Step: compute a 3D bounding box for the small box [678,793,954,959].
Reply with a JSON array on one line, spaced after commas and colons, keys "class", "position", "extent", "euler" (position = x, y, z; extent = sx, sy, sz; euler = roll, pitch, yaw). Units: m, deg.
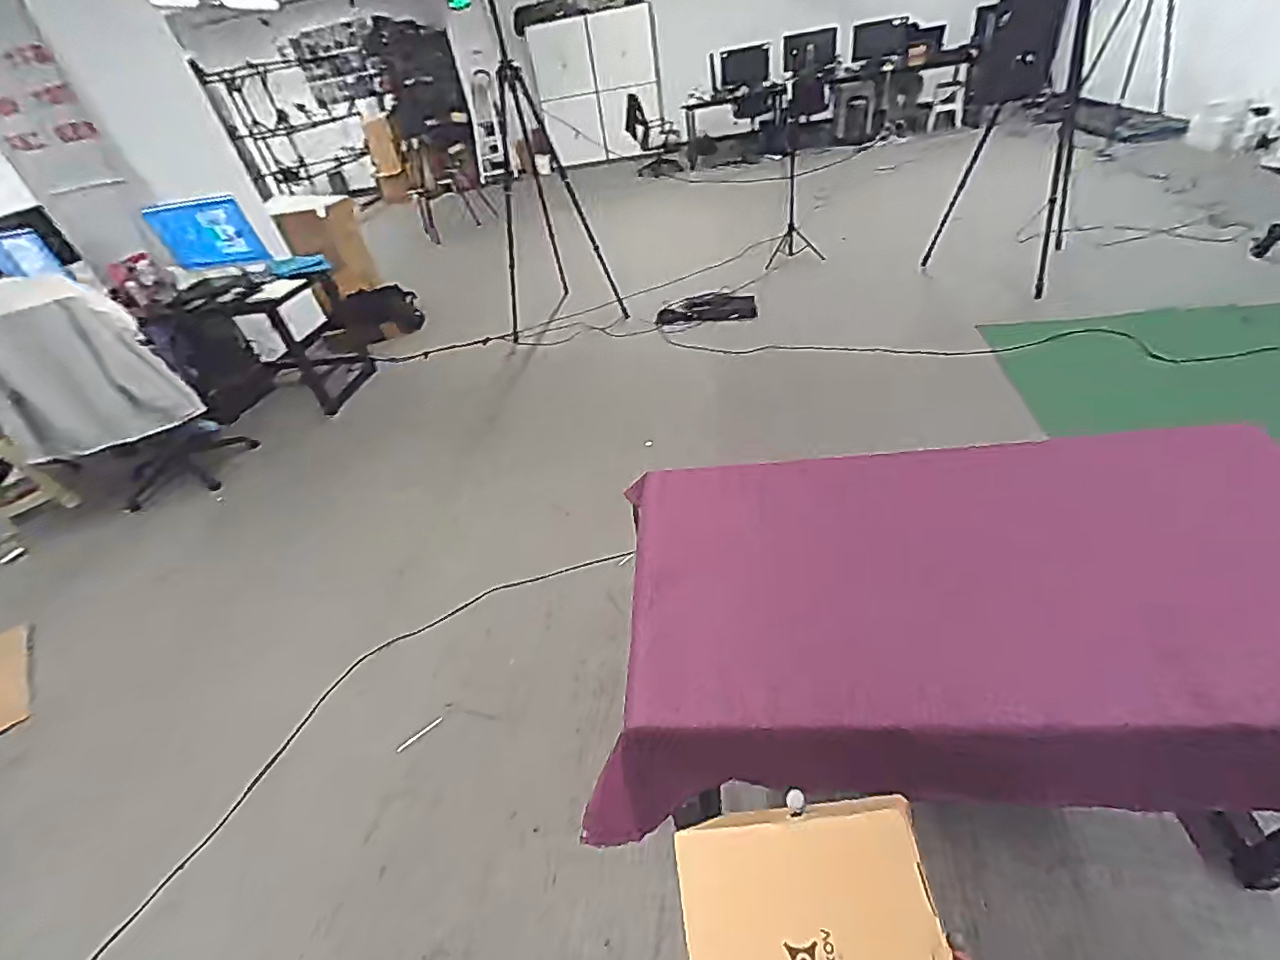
[{"class": "small box", "position": [0.148, 0.357, 0.436], "extent": [0.179, 0.176, 0.168], "euler": [-17, 59, 16]}]
